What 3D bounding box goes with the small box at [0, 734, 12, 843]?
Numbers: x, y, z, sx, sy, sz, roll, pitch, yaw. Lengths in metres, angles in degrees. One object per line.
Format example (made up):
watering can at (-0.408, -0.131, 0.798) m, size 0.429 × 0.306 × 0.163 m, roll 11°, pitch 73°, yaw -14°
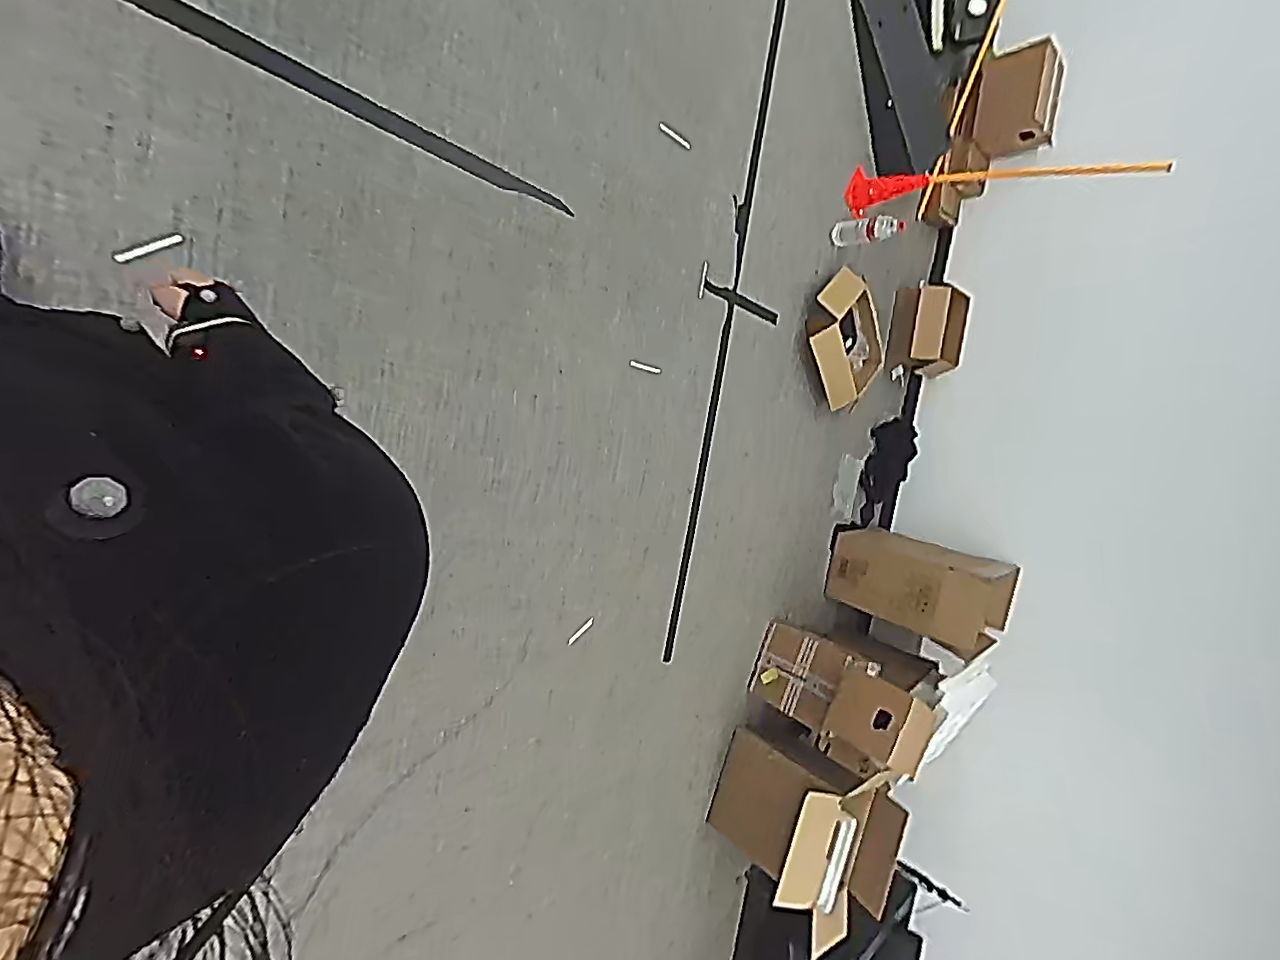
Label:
small box at (-1.209, 0.566, 0.918) m, size 0.168 × 0.176 × 0.179 m, roll -4°, pitch 103°, yaw -44°
